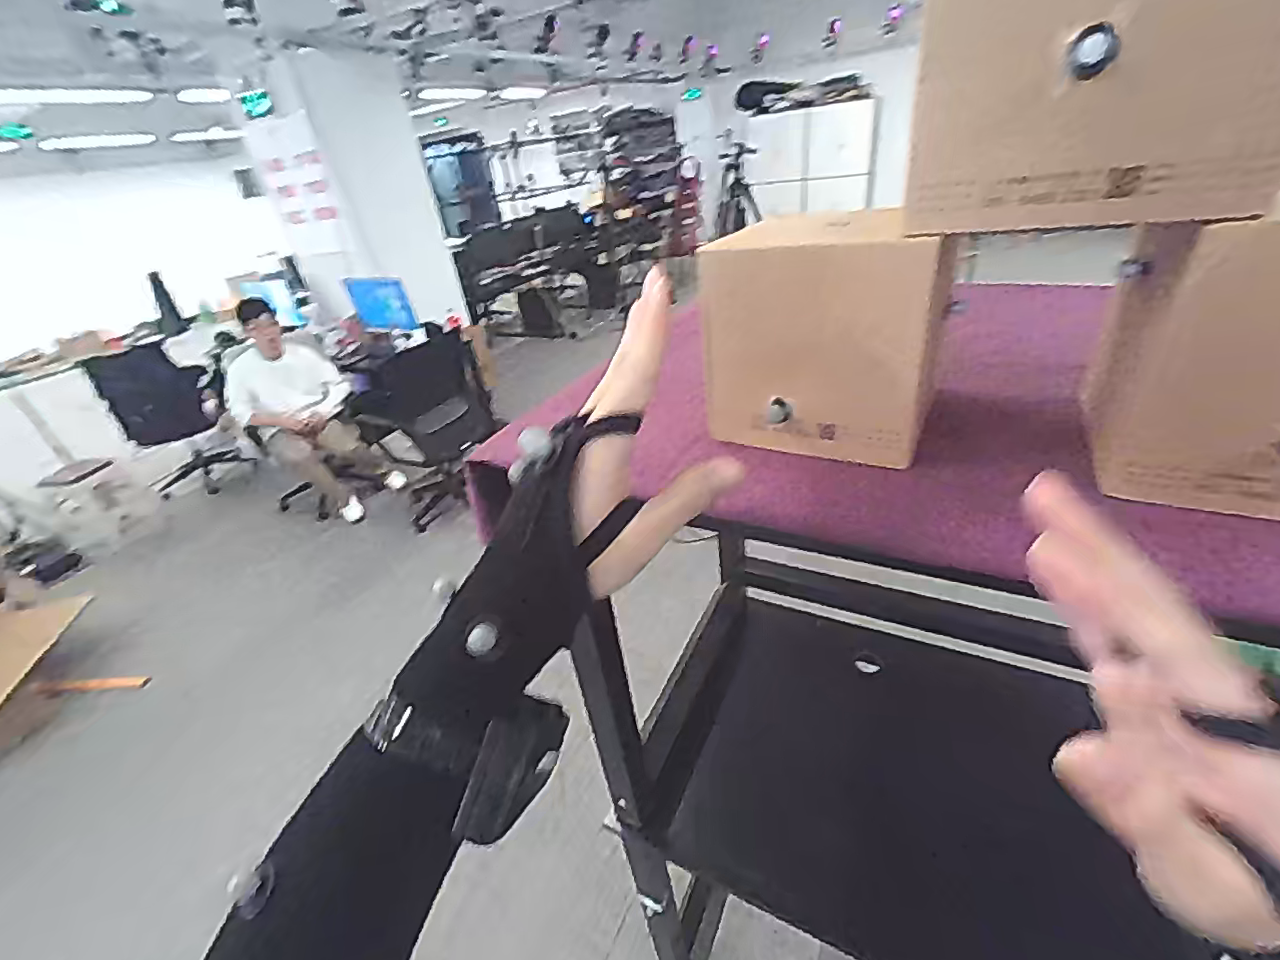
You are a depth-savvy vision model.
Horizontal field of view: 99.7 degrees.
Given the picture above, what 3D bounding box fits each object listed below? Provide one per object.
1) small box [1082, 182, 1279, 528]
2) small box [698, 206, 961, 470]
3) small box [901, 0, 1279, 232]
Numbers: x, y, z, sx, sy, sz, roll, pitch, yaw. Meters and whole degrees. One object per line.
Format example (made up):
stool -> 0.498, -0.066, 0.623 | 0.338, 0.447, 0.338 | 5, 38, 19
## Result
small box -> 0.402, -0.083, 0.335 | 0.168, 0.176, 0.179 | 11, 36, 29
small box -> 0.163, -0.131, 0.467 | 0.168, 0.176, 0.179 | 12, 37, 31
small box -> 0.261, -0.247, 0.318 | 0.168, 0.176, 0.179 | 11, 36, 29
